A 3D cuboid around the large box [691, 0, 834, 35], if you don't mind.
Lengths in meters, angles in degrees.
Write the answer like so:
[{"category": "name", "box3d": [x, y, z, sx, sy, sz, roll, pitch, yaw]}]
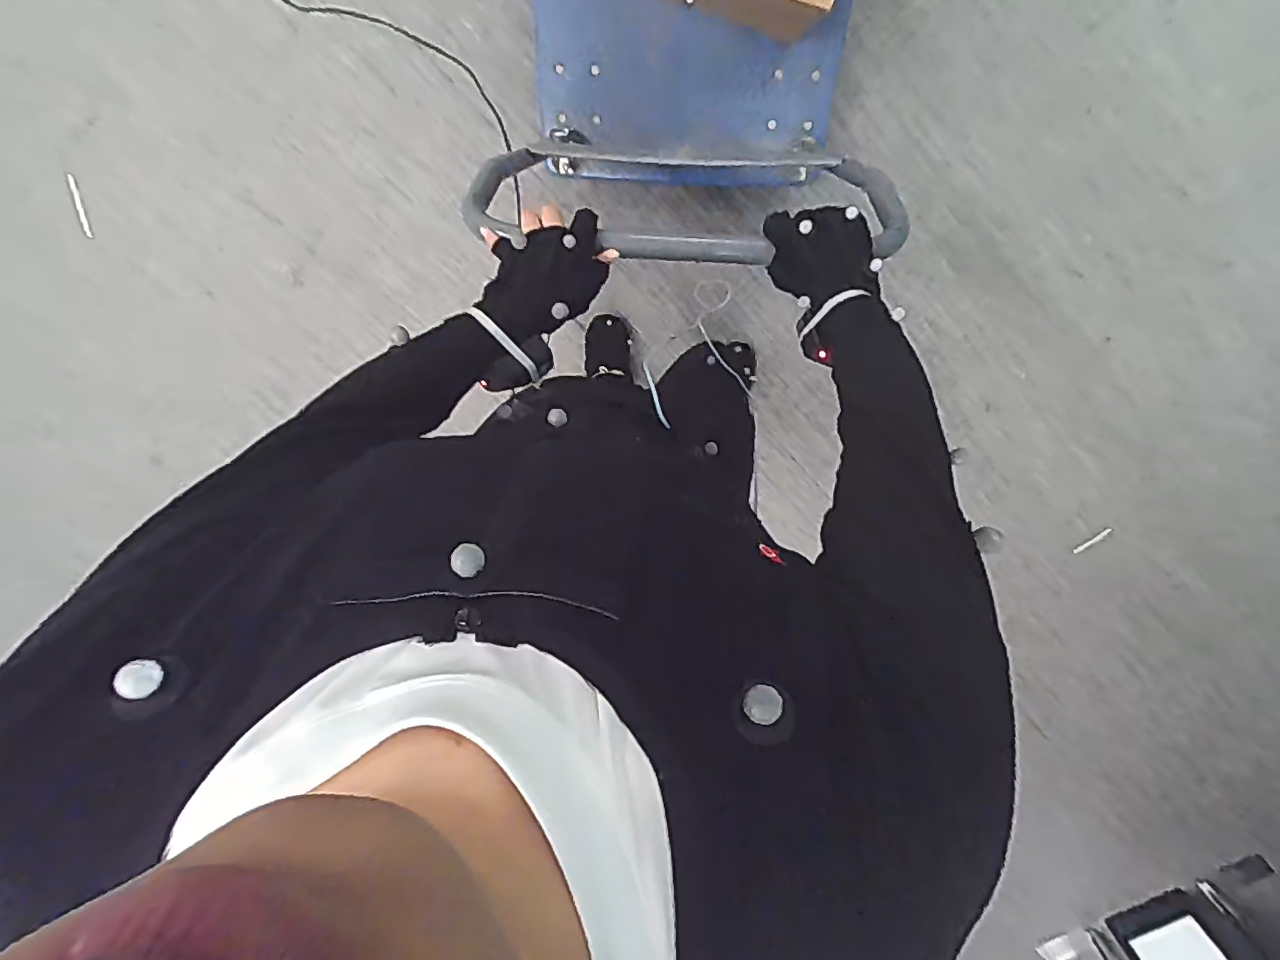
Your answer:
[{"category": "large box", "box3d": [0.128, -0.904, 0.777, 0.408, 0.320, 0.320, 16, 123, -4]}]
